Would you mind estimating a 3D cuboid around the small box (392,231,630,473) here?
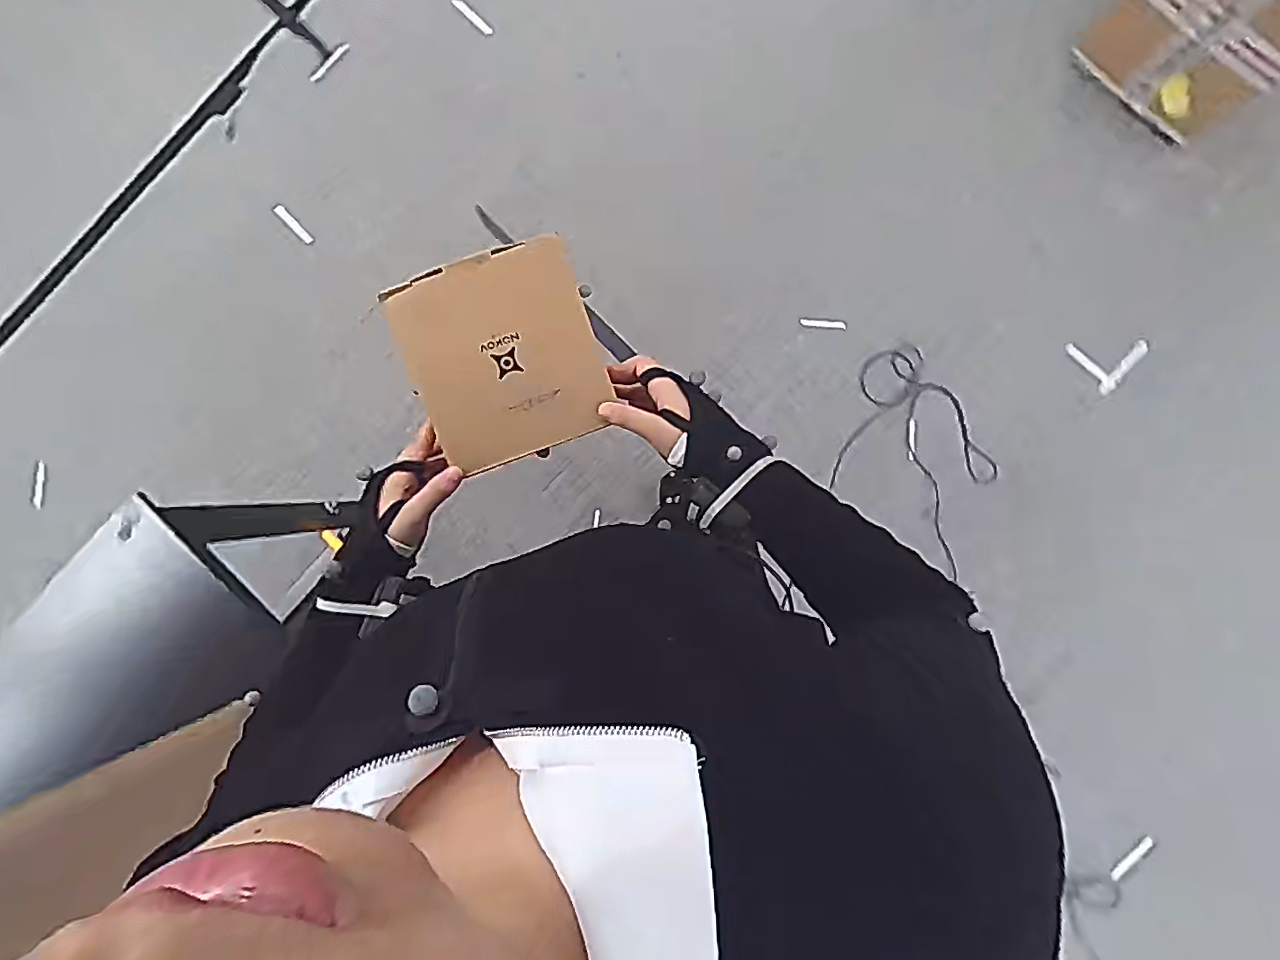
[{"bbox_3d":[-0.119,-0.123,0.556,0.168,0.176,0.179,-19,101,-2],"label":"small box"}]
